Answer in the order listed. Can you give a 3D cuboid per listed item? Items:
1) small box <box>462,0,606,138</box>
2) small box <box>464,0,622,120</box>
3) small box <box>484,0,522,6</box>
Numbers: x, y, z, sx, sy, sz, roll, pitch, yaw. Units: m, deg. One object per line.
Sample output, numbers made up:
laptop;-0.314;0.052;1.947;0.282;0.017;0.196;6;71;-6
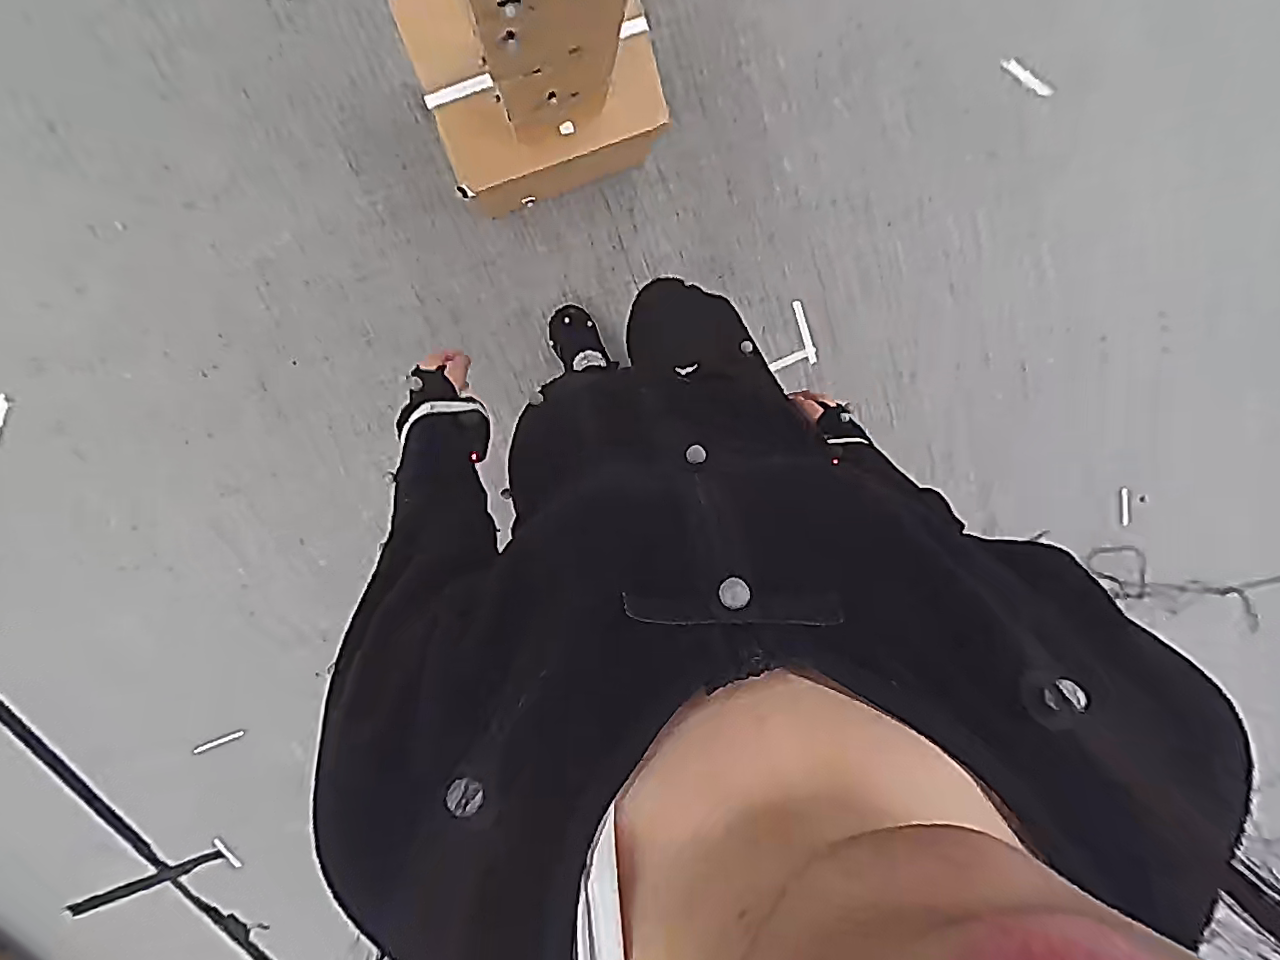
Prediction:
small box;-0.158;-0.682;0.866;0.179;0.176;0.168;-23;111;-1
small box;-0.138;-0.621;0.717;0.168;0.176;0.179;-22;112;0
small box;-0.092;-0.511;0.411;0.168;0.176;0.179;-20;111;-1
